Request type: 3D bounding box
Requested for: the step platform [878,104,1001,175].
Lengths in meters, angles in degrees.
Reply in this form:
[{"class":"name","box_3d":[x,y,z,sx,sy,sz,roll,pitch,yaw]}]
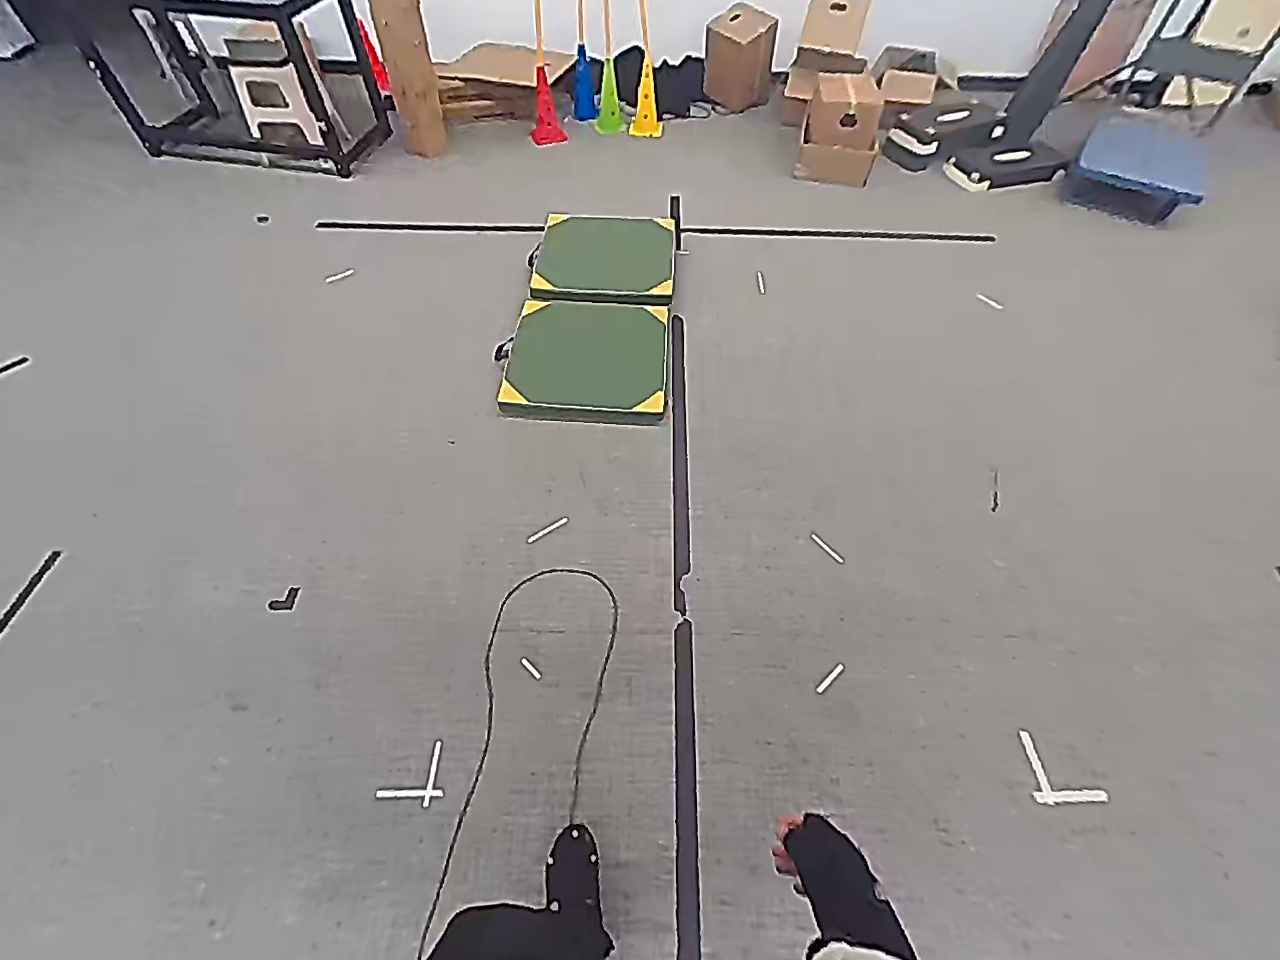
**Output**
[{"class":"step platform","box_3d":[1.765,-2.008,3.178,0.684,0.204,0.286,-23,58,-16]}]
